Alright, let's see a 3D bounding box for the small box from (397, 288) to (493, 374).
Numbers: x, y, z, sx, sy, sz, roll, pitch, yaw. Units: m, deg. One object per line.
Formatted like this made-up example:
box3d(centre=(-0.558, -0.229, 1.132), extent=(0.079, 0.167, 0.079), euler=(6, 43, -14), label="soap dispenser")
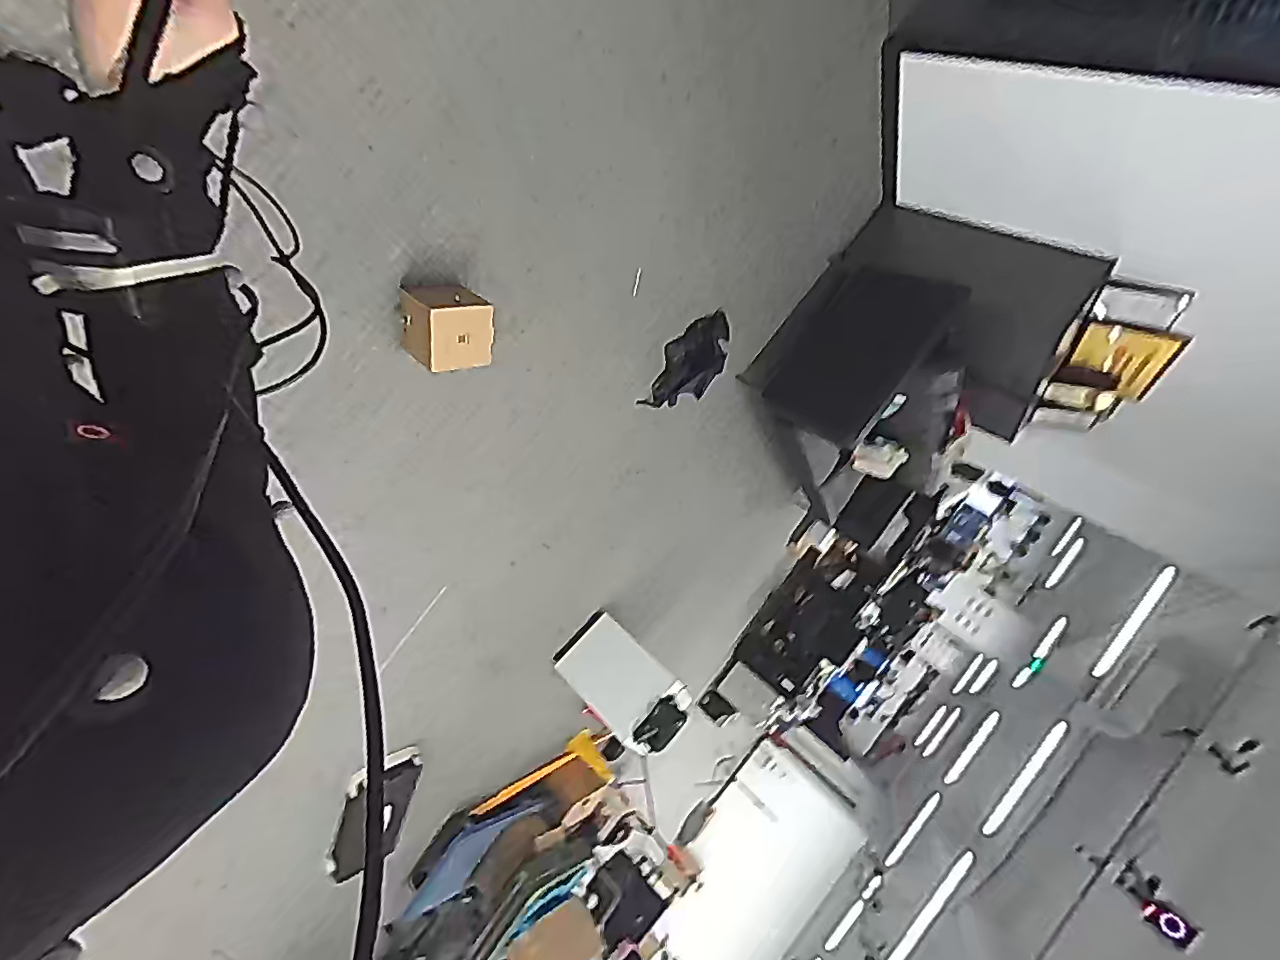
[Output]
box3d(centre=(-0.509, -0.395, 1.413), extent=(0.179, 0.176, 0.168), euler=(-21, 135, -41), label="small box")
